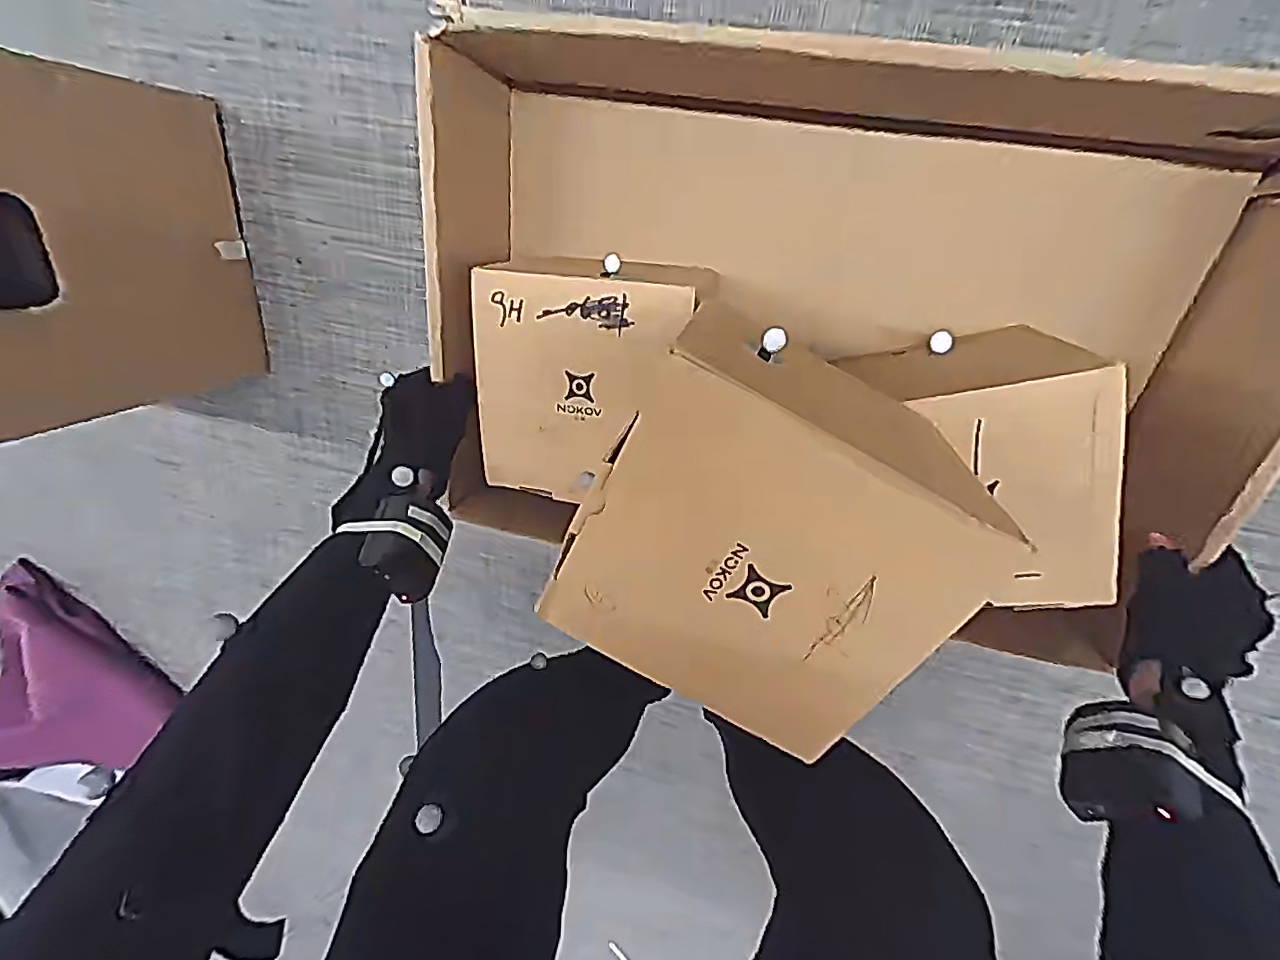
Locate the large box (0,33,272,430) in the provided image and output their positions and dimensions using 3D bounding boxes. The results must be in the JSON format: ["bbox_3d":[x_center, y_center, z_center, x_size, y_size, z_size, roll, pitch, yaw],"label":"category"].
[{"bbox_3d":[-0.700,-0.266,0.560,0.408,0.320,0.320,10,116,9],"label":"large box"}]
